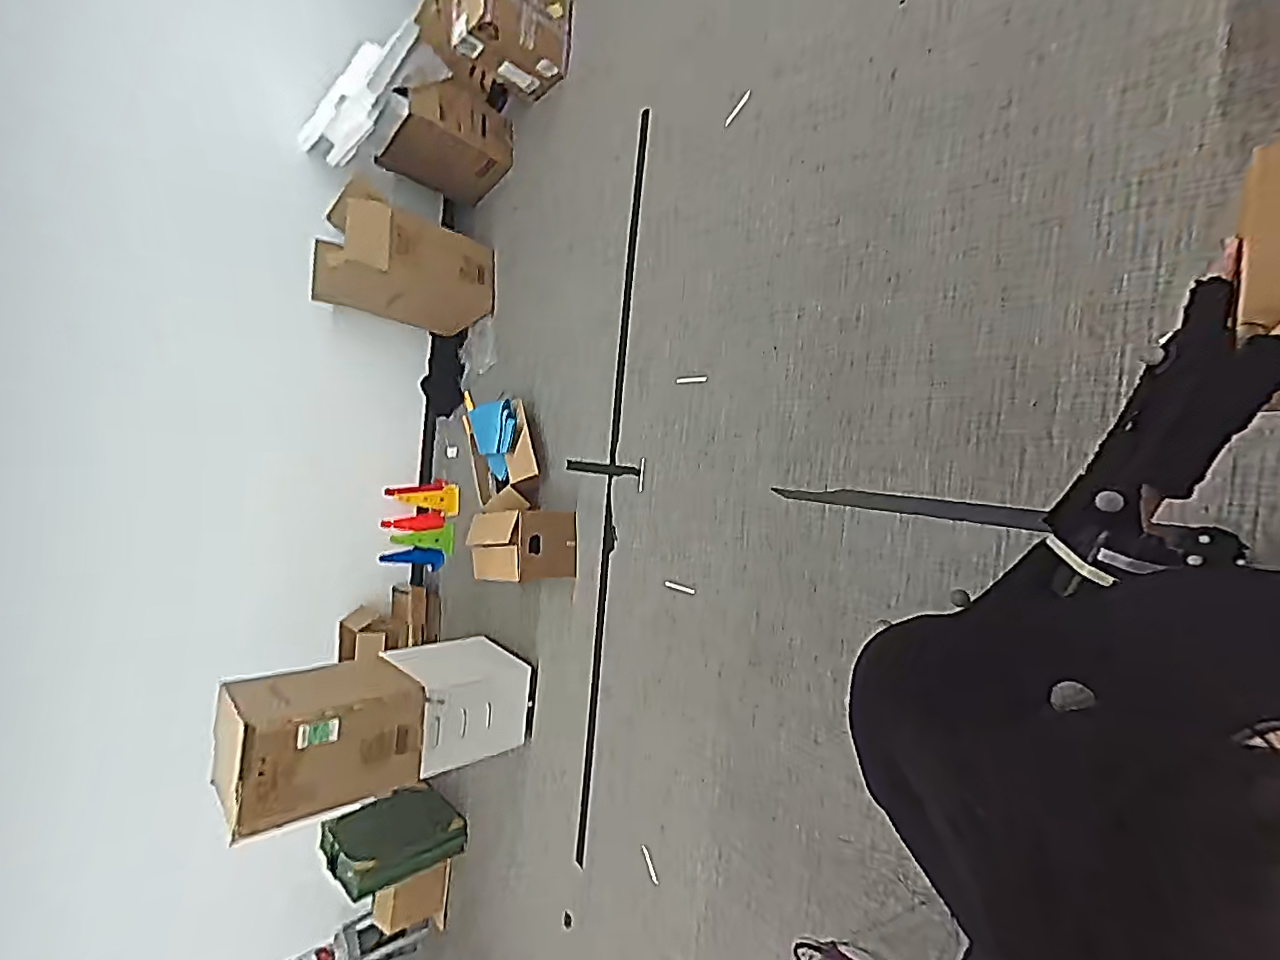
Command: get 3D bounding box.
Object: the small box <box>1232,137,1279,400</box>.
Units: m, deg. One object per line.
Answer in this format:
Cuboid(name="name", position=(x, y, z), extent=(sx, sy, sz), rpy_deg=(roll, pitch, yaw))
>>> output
Cuboid(name="small box", position=(0.507, -0.141, 0.334), extent=(0.179, 0.176, 0.168), rpy_deg=(4, 102, 45))
